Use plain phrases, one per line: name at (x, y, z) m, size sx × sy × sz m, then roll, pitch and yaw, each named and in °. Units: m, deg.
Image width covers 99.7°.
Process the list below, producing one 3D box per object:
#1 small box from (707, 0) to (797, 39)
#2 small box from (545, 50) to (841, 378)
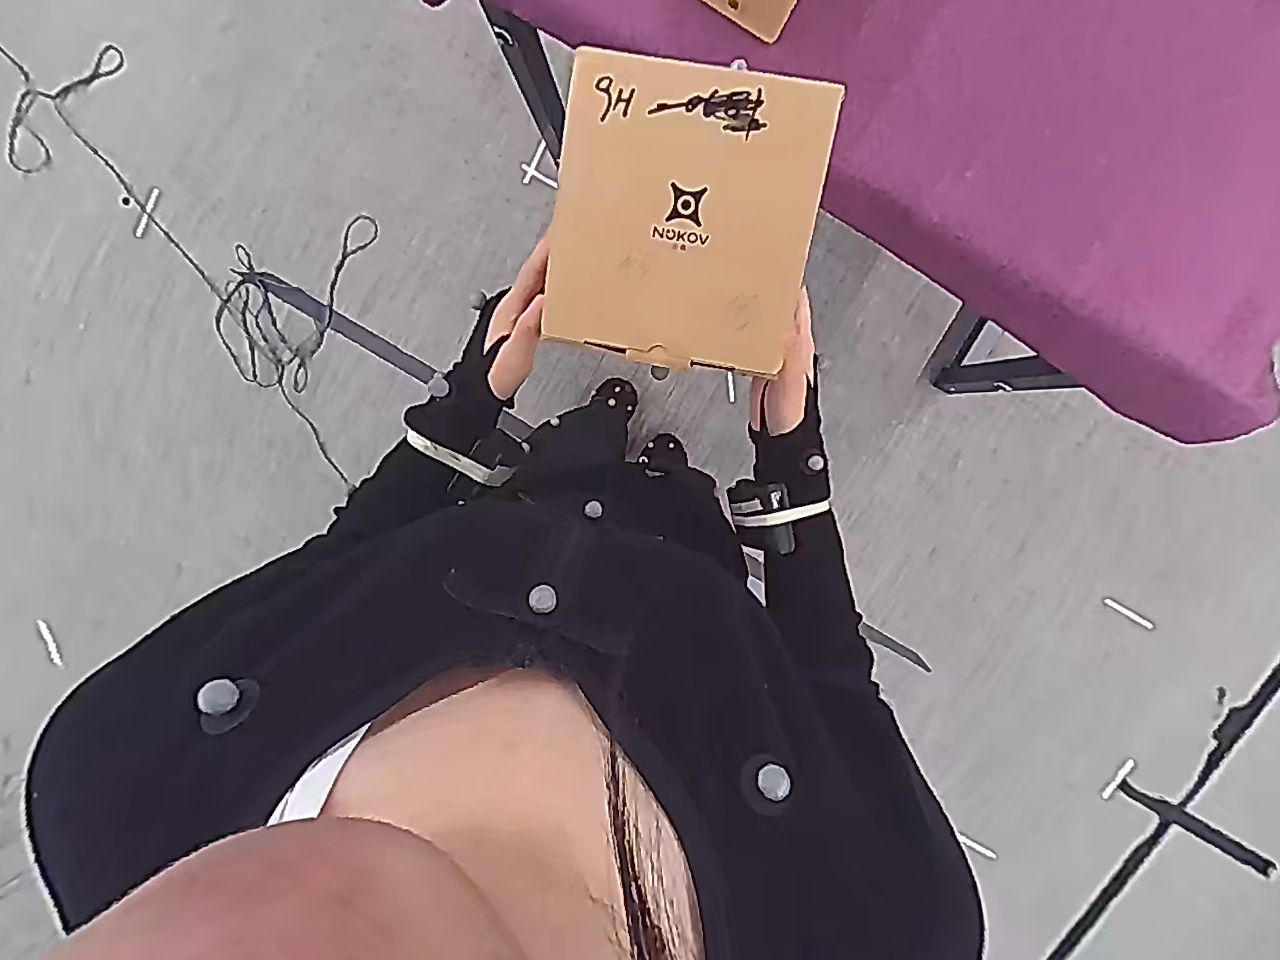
small box at (0.134, -0.647, 0.587) m, size 0.168 × 0.176 × 0.179 m, roll 31°, pitch 97°, yaw -2°
small box at (0.035, -0.185, 0.427) m, size 0.168 × 0.176 × 0.179 m, roll 11°, pitch 103°, yaw 2°
